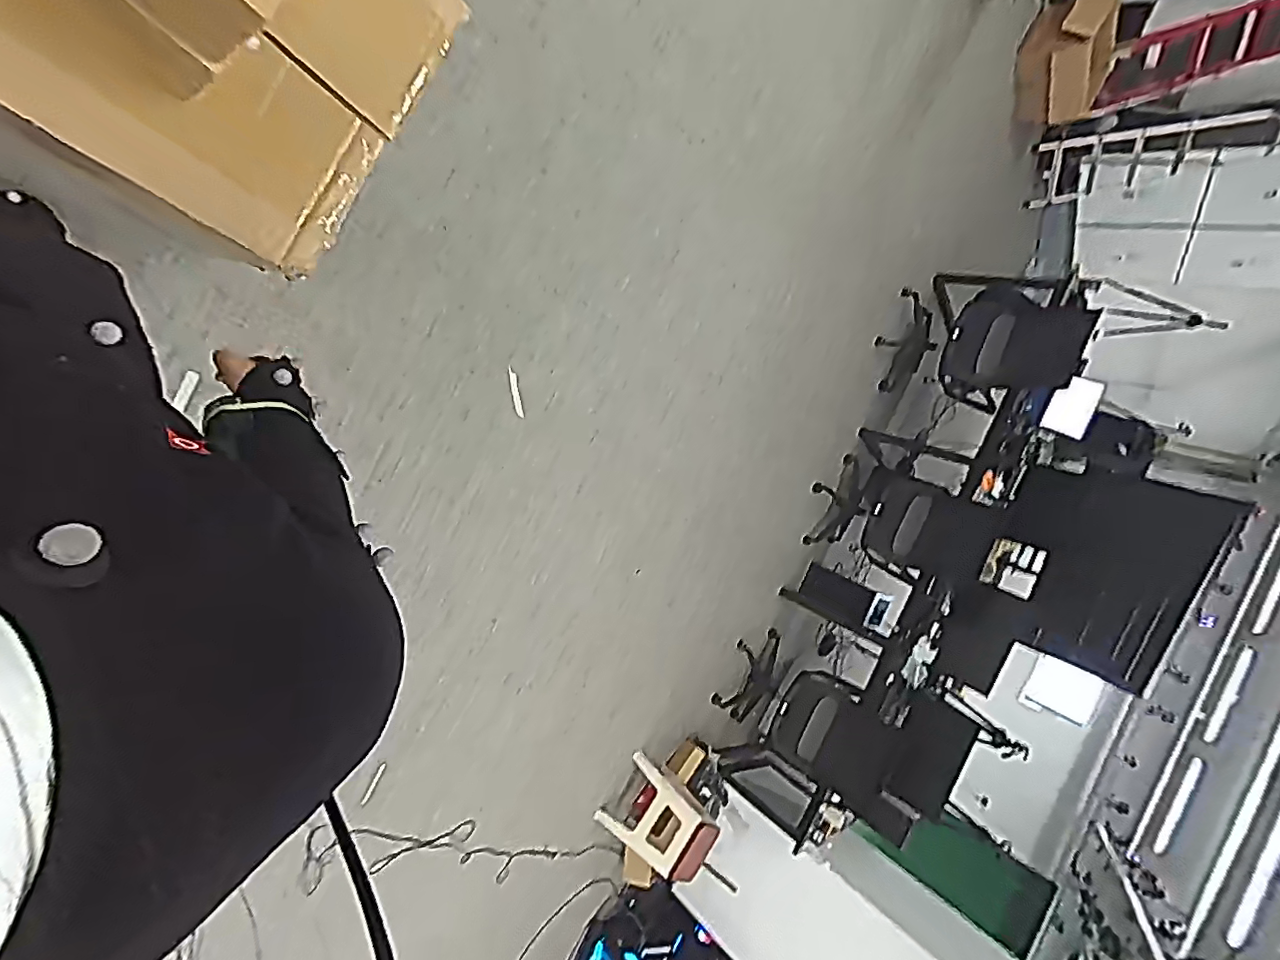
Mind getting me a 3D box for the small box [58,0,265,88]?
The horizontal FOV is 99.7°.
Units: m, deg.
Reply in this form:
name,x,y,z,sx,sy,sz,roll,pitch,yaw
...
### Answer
name,x,y,z,sx,sy,sz,roll,pitch,yaw
small box,-0.400,-0.450,0.421,0.179,0.176,0.168,32,85,-50
